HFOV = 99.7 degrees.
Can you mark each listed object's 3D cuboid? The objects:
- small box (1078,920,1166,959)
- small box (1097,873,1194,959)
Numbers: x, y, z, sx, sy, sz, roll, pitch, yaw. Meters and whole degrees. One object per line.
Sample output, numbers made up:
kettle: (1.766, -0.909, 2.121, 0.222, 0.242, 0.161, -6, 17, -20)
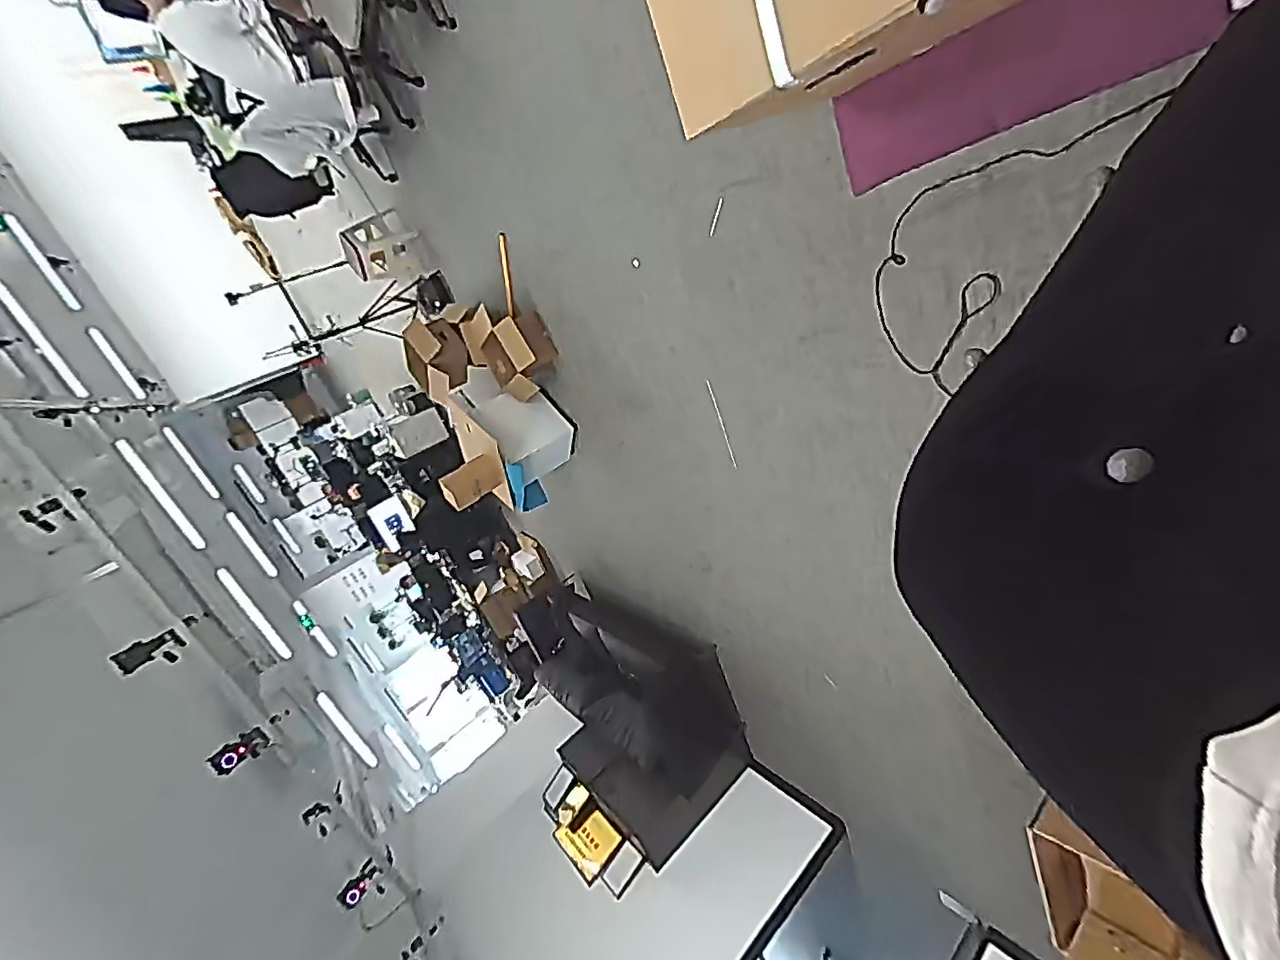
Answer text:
small box: (1.266, 1.317, 1.406, 0.168, 0.176, 0.179, 6, 125, 54)
small box: (1.390, 1.242, 1.487, 0.168, 0.176, 0.179, 8, 128, 54)
